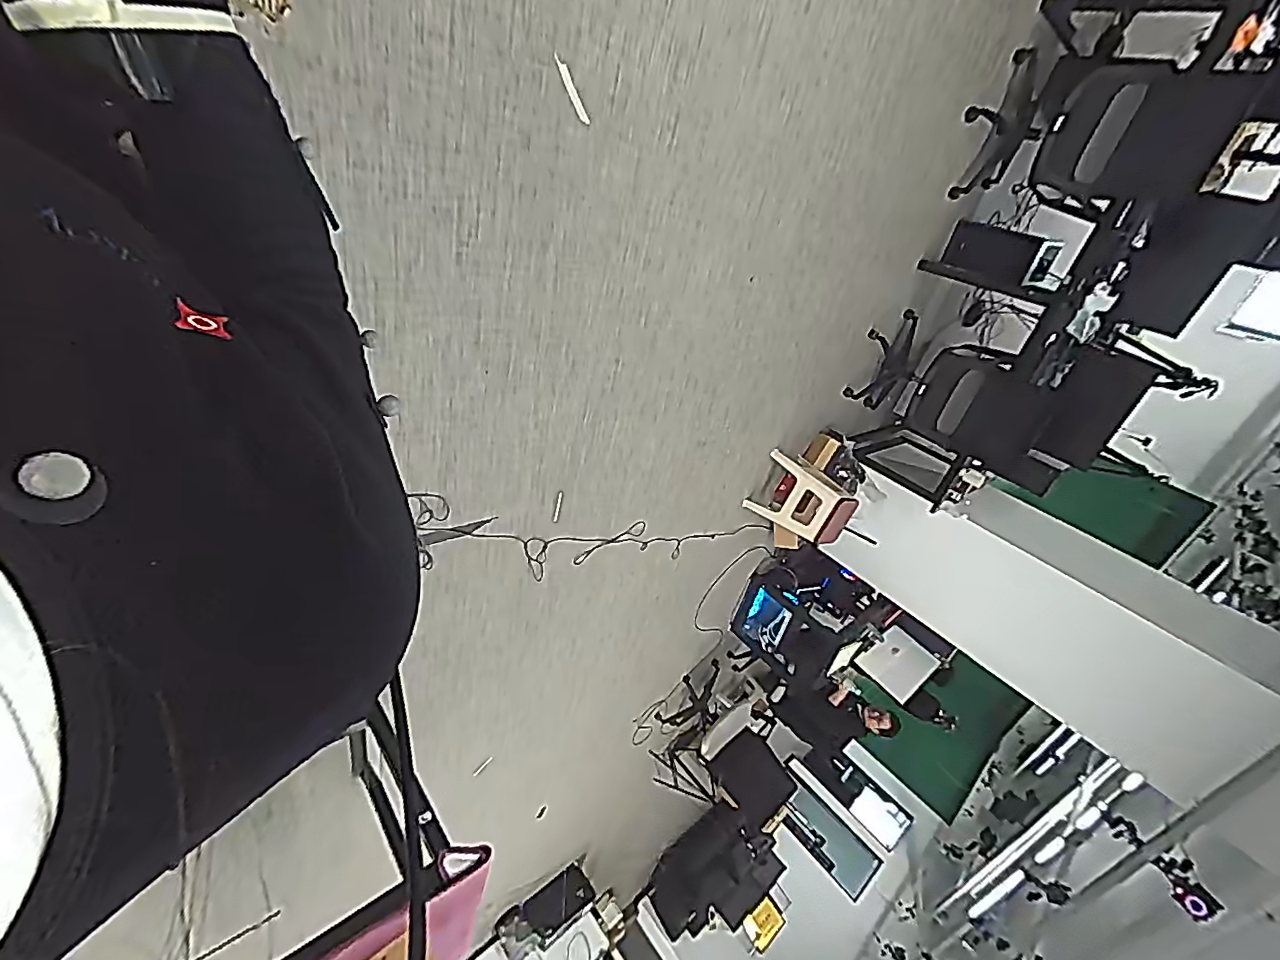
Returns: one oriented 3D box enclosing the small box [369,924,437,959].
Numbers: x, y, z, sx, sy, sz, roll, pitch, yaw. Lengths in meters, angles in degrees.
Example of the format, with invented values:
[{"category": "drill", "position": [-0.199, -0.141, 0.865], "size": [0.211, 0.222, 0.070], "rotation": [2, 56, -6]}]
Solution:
[{"category": "small box", "position": [-0.636, 1.362, 1.463], "size": [0.168, 0.176, 0.179], "rotation": [-21, 134, -36]}]
